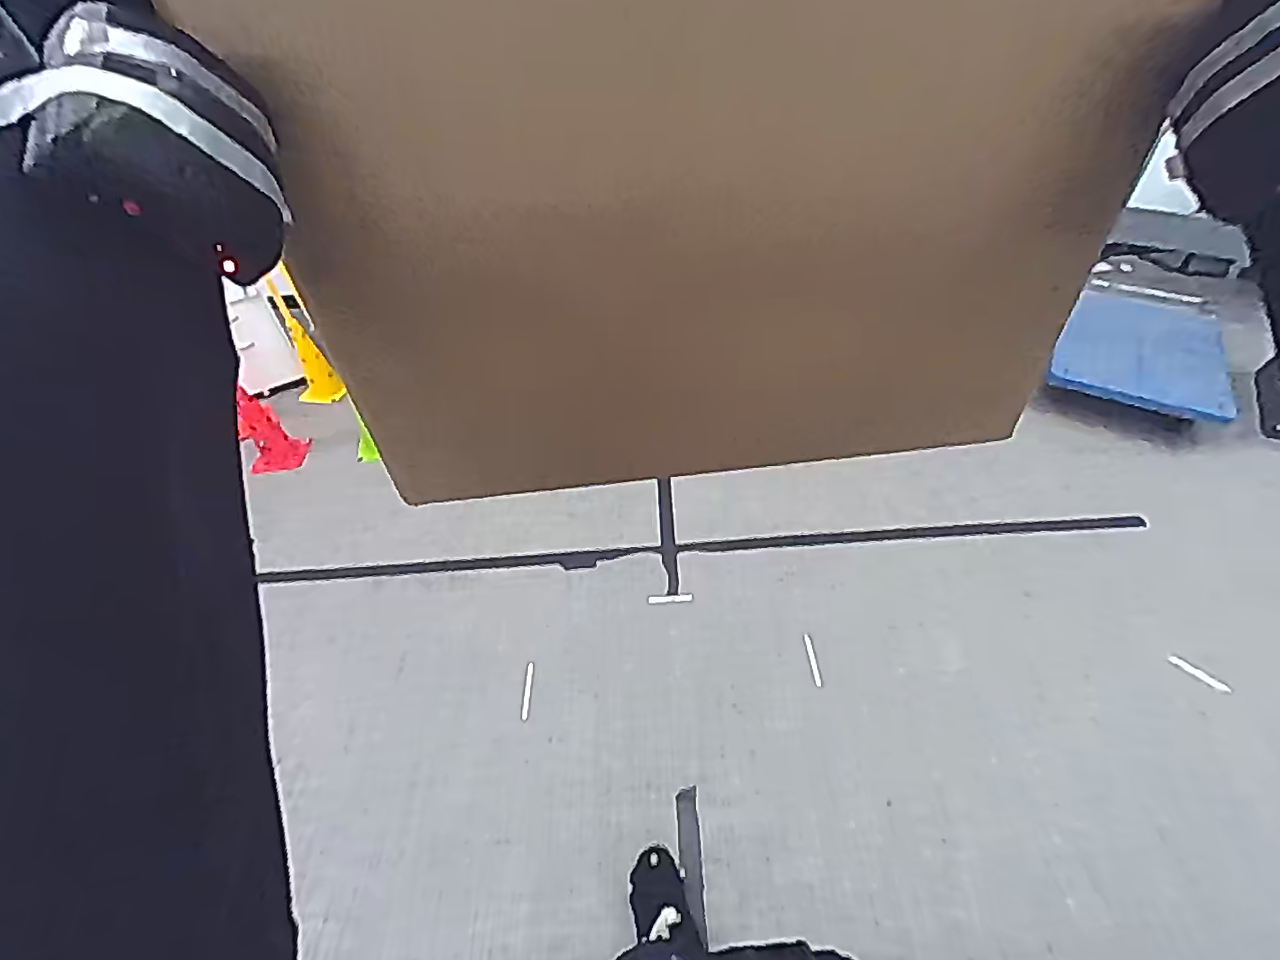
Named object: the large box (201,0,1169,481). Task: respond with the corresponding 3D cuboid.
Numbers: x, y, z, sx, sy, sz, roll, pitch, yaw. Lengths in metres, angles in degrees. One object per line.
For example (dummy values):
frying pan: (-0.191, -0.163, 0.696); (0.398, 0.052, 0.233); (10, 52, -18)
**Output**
large box: (0.019, -0.227, 0.377); (0.408, 0.320, 0.320); (-6, 42, -2)
